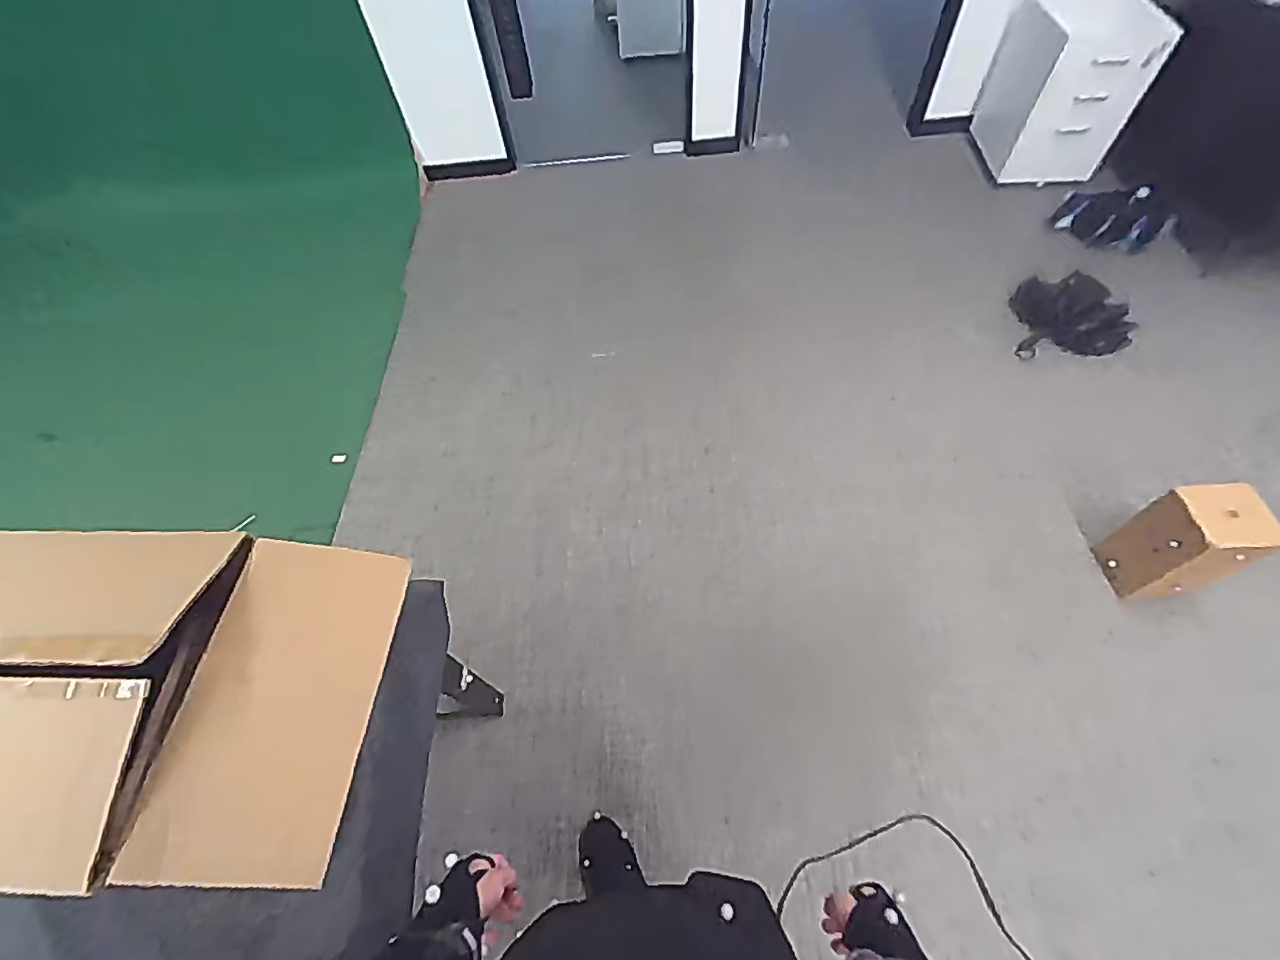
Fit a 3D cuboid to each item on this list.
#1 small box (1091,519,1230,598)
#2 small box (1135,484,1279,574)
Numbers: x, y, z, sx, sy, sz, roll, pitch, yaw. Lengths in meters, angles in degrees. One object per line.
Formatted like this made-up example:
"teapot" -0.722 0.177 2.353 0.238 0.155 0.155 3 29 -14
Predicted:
"small box" 1.392 0.210 1.461 0.179 0.176 0.168 -5 58 2
"small box" 1.378 0.124 1.324 0.179 0.176 0.168 -3 59 1
